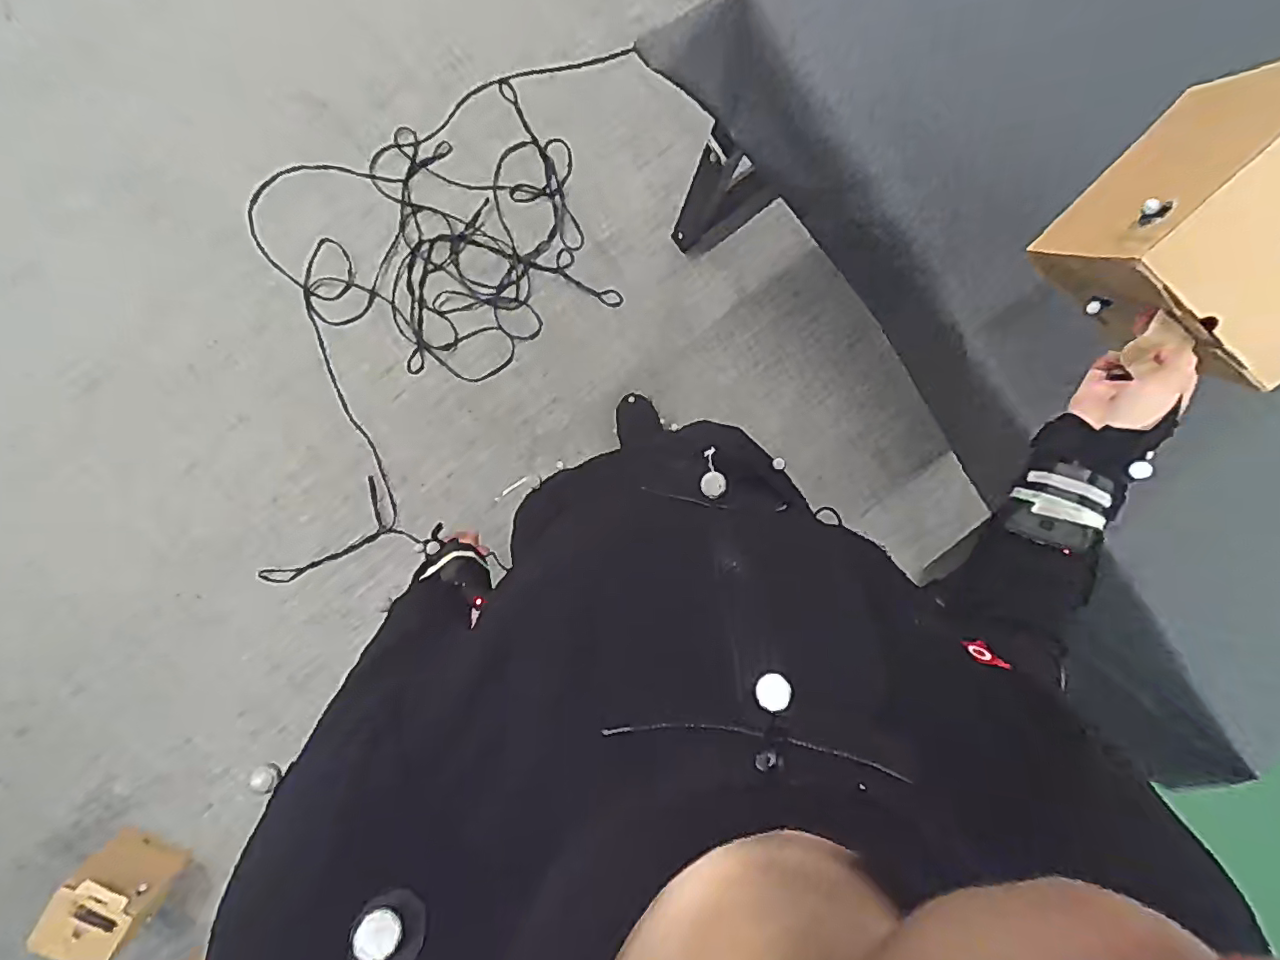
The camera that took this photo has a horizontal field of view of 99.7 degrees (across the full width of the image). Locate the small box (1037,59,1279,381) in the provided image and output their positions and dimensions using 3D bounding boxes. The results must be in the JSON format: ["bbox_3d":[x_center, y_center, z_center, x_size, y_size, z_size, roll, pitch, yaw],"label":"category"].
[{"bbox_3d":[0.496,-0.218,0.452,0.168,0.176,0.179,35,115,-9],"label":"small box"}]
